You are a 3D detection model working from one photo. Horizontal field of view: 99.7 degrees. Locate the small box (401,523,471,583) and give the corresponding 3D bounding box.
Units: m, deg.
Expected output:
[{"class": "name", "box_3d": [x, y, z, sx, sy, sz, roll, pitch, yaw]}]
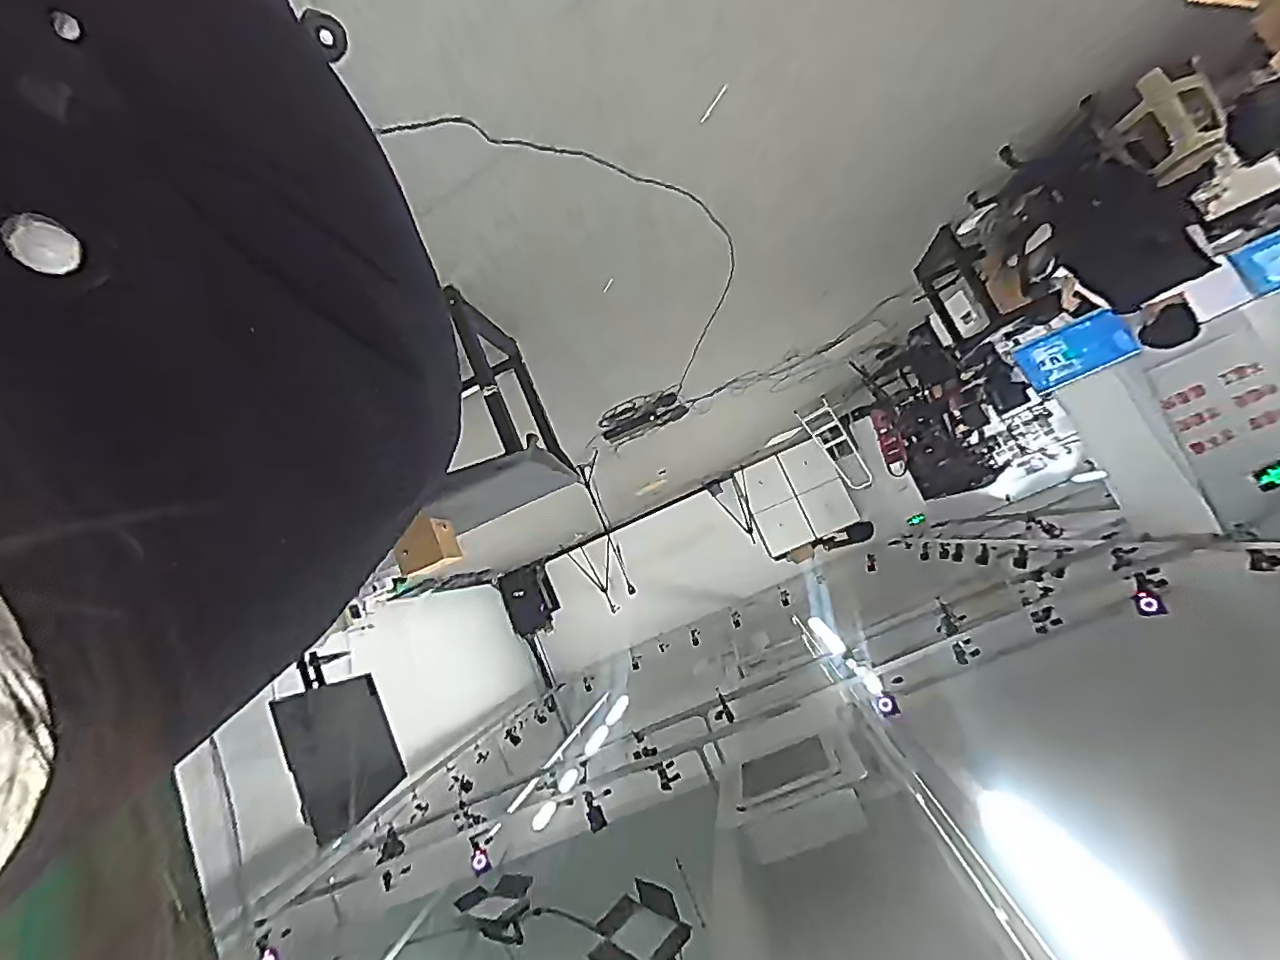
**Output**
[{"class": "small box", "box_3d": [-0.781, 0.276, 2.058, 0.179, 0.176, 0.168, -26, 171, 4]}]
